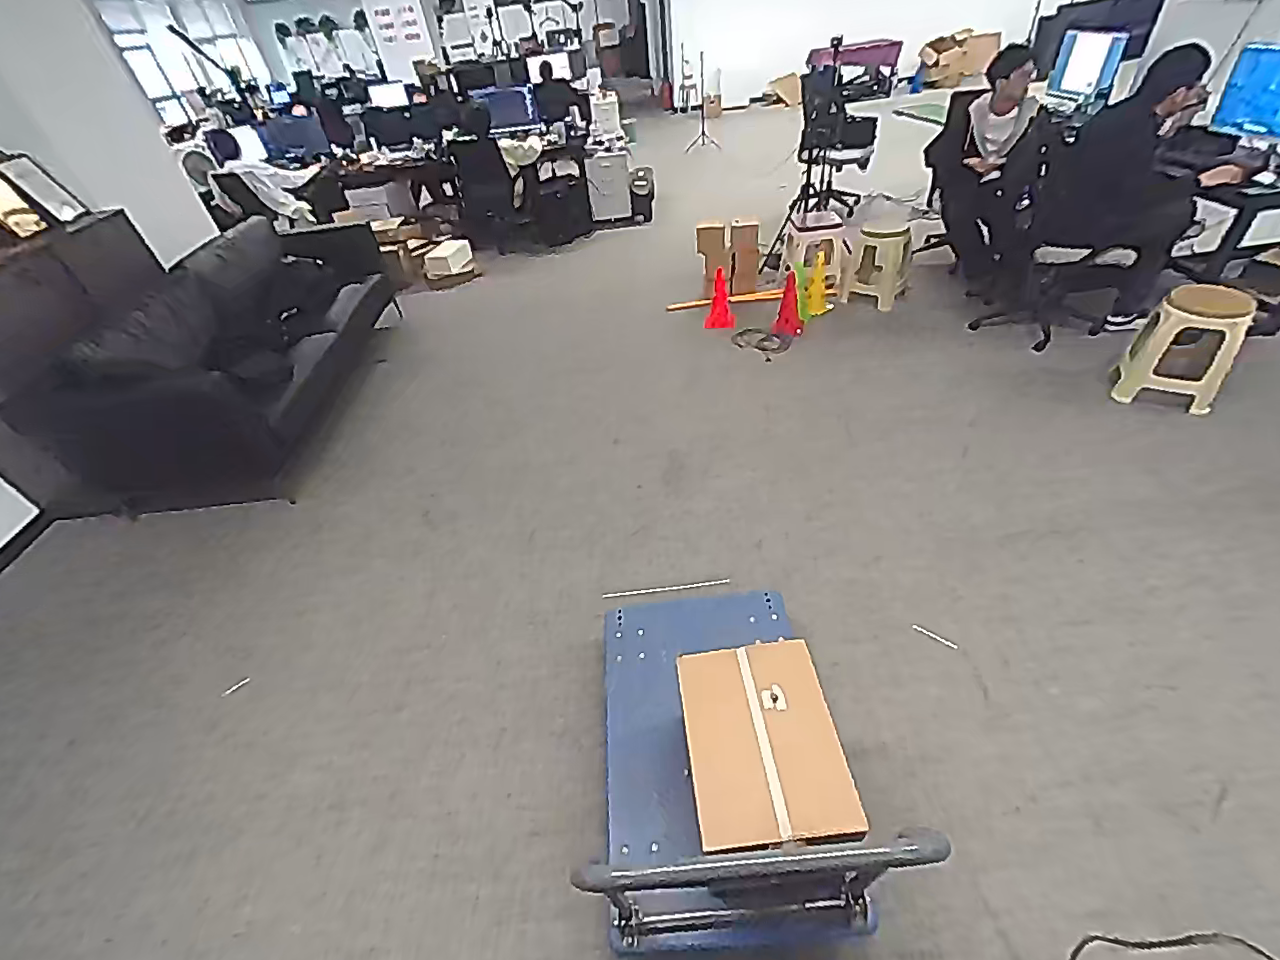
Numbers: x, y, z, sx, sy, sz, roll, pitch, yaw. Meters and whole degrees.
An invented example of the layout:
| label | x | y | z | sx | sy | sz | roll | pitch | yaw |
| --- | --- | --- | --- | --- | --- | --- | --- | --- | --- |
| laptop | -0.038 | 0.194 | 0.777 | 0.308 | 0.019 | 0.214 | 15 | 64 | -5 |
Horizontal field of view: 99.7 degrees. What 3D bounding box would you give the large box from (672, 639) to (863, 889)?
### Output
| label | x | y | z | sx | sy | sz | roll | pitch | yaw |
| --- | --- | --- | --- | --- | --- | --- | --- | --- | --- |
| large box | 0.263 | 0.642 | 1.241 | 0.320 | 0.320 | 0.408 | -7 | 41 | 0 |
